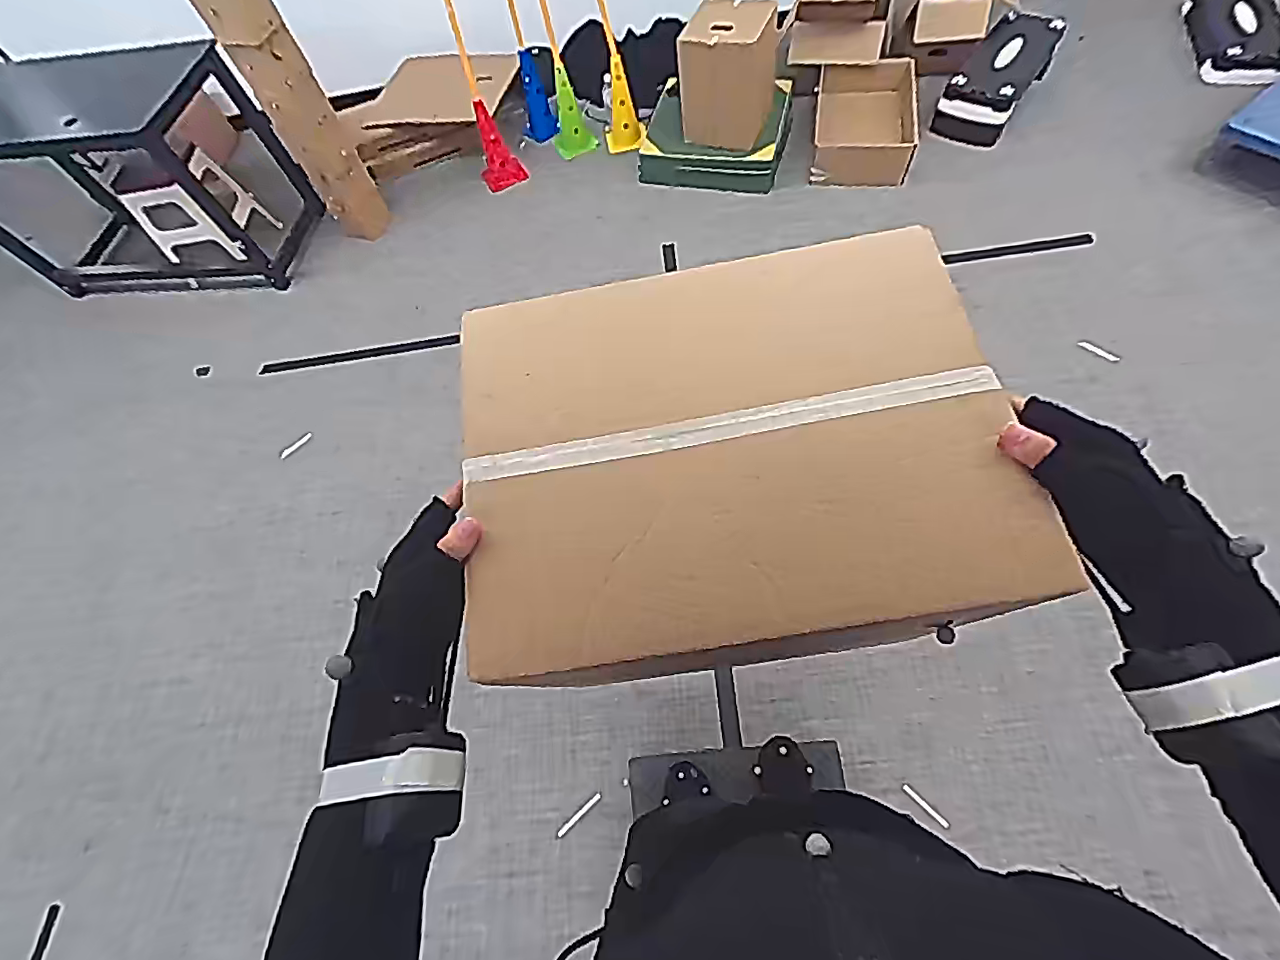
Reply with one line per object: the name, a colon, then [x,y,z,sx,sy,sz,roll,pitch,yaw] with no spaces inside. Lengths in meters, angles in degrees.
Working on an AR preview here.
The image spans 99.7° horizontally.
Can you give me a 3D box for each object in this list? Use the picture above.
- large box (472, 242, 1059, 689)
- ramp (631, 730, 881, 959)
large box: [0.084,0.021,0.561,0.408,0.320,0.320,-10,68,4]
ramp: [0.271,1.086,1.137,0.509,0.206,0.991,-8,63,3]
